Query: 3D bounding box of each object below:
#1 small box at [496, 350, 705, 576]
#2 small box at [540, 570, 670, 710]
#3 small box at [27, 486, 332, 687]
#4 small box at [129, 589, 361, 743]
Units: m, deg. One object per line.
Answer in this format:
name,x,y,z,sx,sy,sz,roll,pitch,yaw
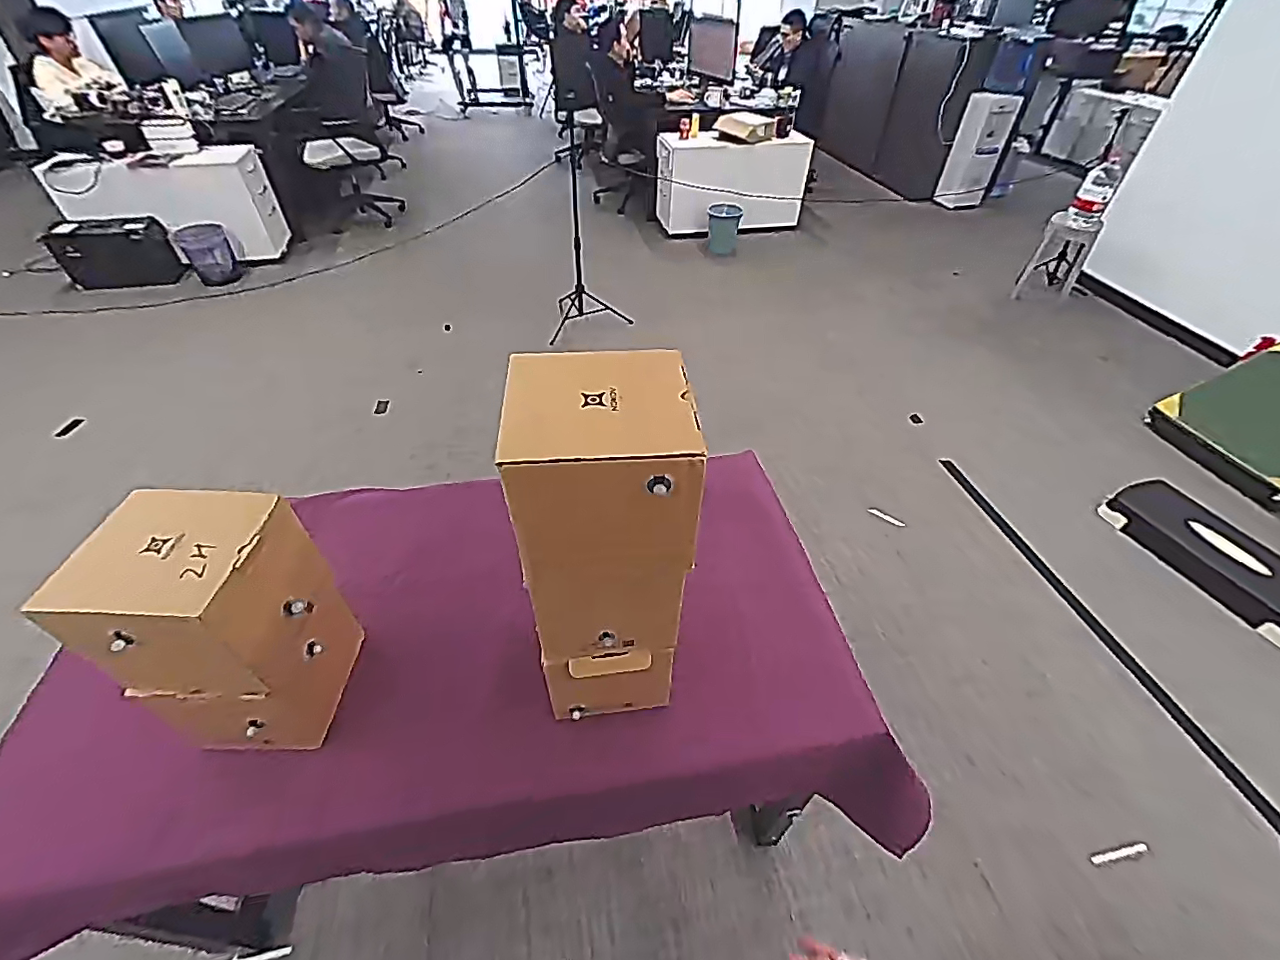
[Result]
small box,-0.039,-0.016,0.554,0.179,0.176,0.168,-2,45,-5
small box,-0.052,0.215,0.784,0.168,0.176,0.179,-5,44,-6
small box,-0.504,0.126,0.630,0.179,0.176,0.168,3,45,0
small box,-0.514,0.245,0.742,0.168,0.176,0.179,2,44,-1
